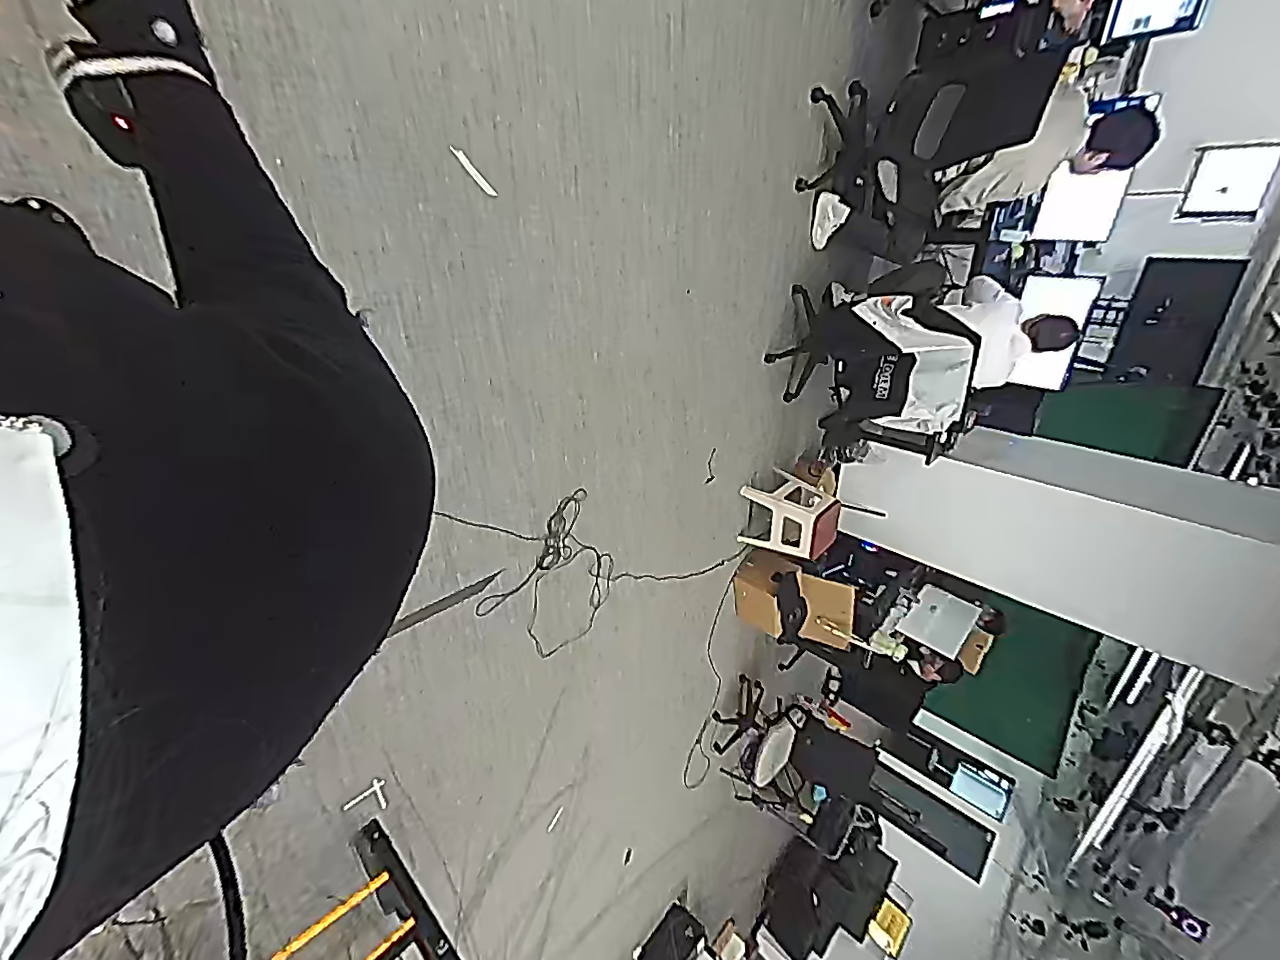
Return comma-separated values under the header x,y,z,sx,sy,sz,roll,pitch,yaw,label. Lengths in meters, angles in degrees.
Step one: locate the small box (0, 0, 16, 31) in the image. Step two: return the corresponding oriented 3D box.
x,y,z,sx,sy,sz,roll,pitch,yaw,label
-0.713,-0.510,0.470,0.179,0.176,0.168,-28,128,-41,small box
